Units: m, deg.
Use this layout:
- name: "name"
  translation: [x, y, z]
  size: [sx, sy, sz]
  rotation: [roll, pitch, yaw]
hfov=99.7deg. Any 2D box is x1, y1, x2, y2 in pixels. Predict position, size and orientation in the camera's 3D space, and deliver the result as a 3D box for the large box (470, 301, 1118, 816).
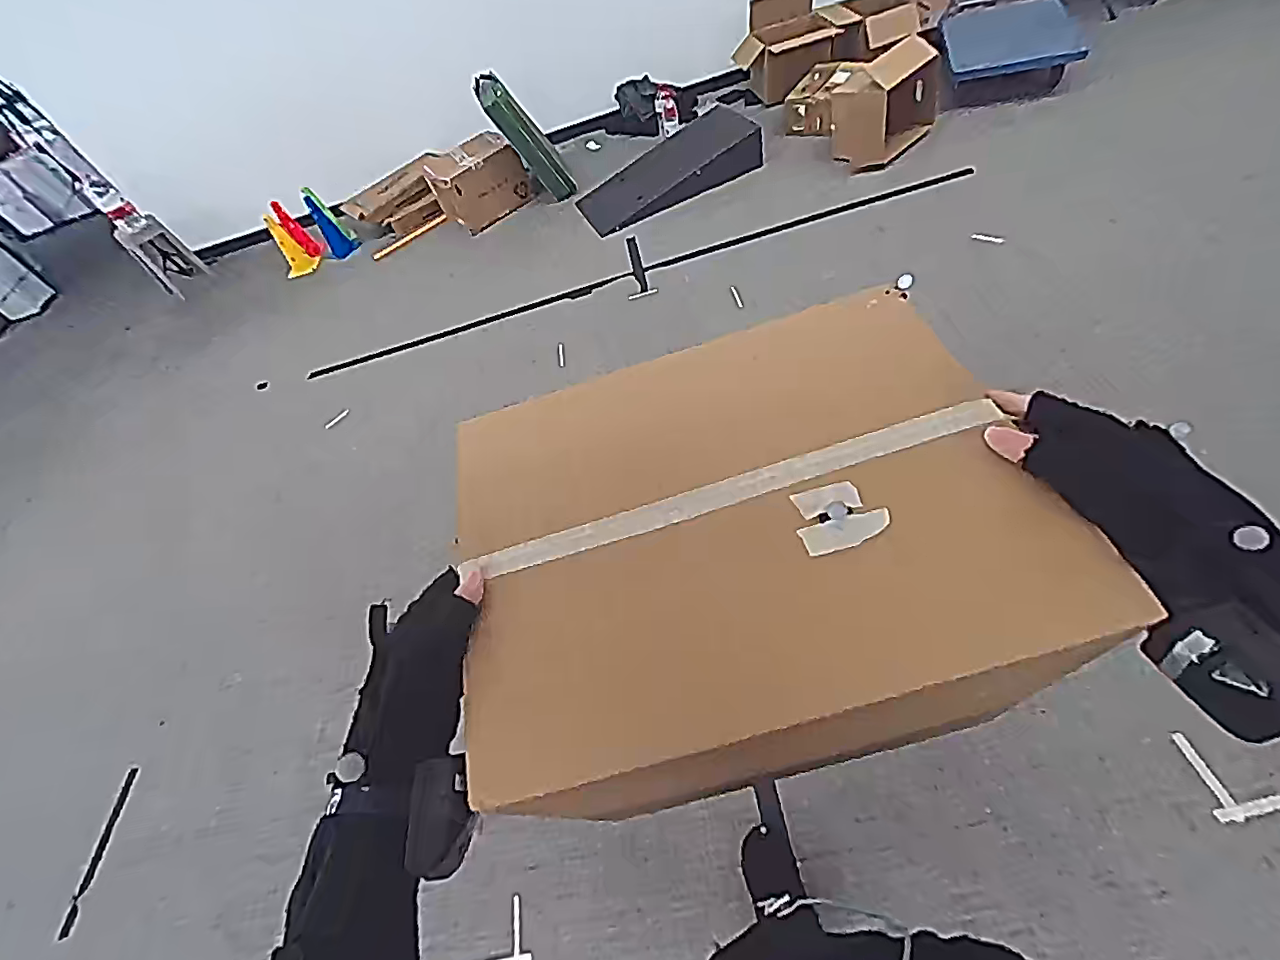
- name: "large box"
  translation: [0.093, 0.097, 0.531]
  size: [0.408, 0.320, 0.320]
  rotation: [-17, 55, 2]
